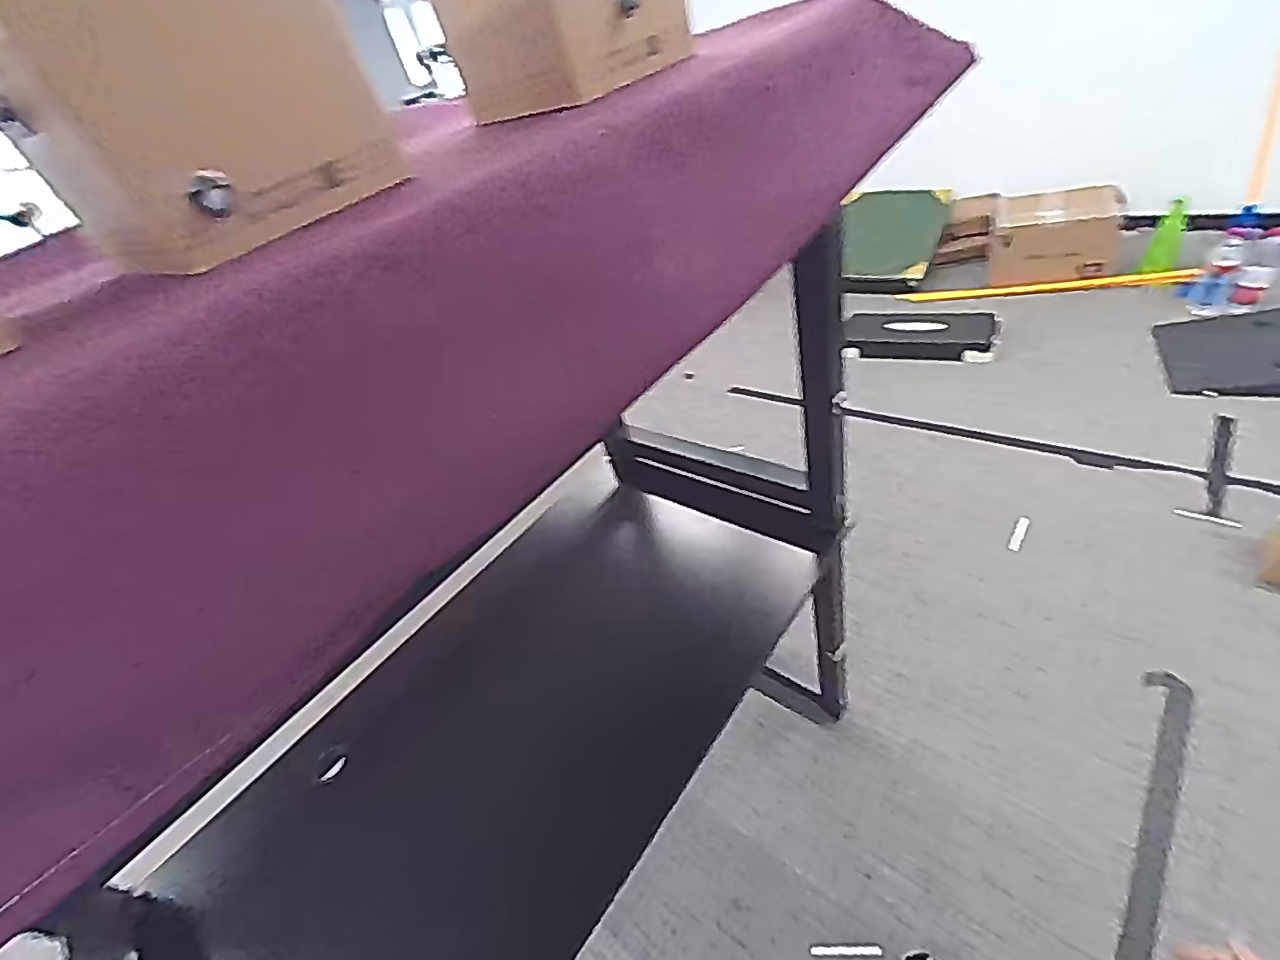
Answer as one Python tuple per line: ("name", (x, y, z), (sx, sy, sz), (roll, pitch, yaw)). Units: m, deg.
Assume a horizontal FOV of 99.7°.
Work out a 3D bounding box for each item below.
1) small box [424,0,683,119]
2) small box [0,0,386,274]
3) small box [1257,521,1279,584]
("small box", (-0.087, -0.447, 0.485), (0.179, 0.176, 0.168), (23, 56, 39))
("small box", (-0.301, -0.241, 0.336), (0.179, 0.176, 0.168), (14, 49, 35))
("small box", (1.726, 0.178, 1.359), (0.179, 0.176, 0.168), (22, 54, 36))
